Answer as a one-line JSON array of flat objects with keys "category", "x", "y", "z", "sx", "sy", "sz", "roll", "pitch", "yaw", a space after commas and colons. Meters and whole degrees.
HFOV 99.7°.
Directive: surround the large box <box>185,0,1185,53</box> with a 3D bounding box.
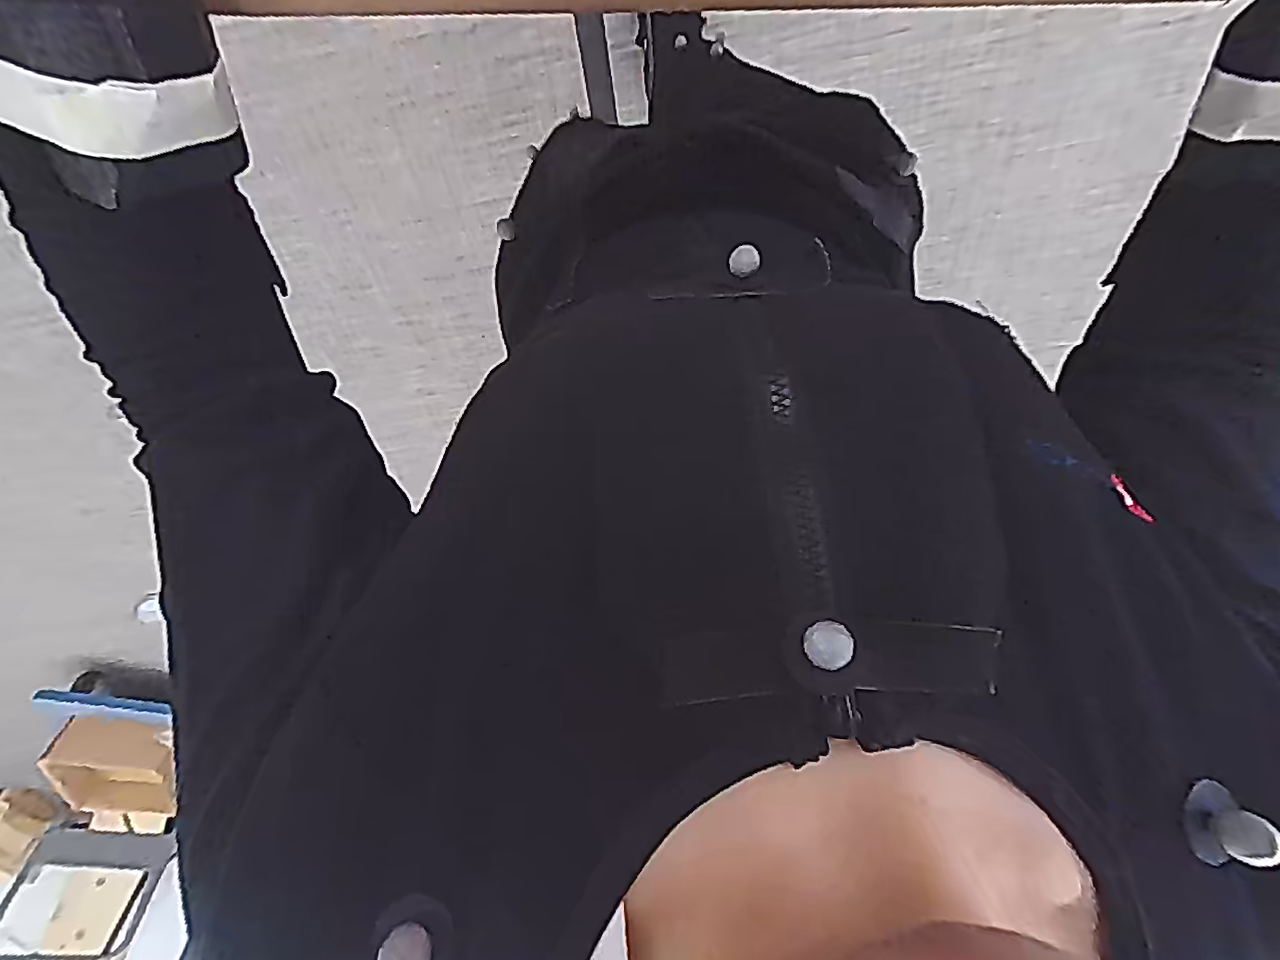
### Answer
[{"category": "large box", "x": 0.021, "y": -0.374, "z": 0.128, "sx": 0.408, "sy": 0.320, "sz": 0.320, "roll": -3, "pitch": 160, "yaw": -2}]
